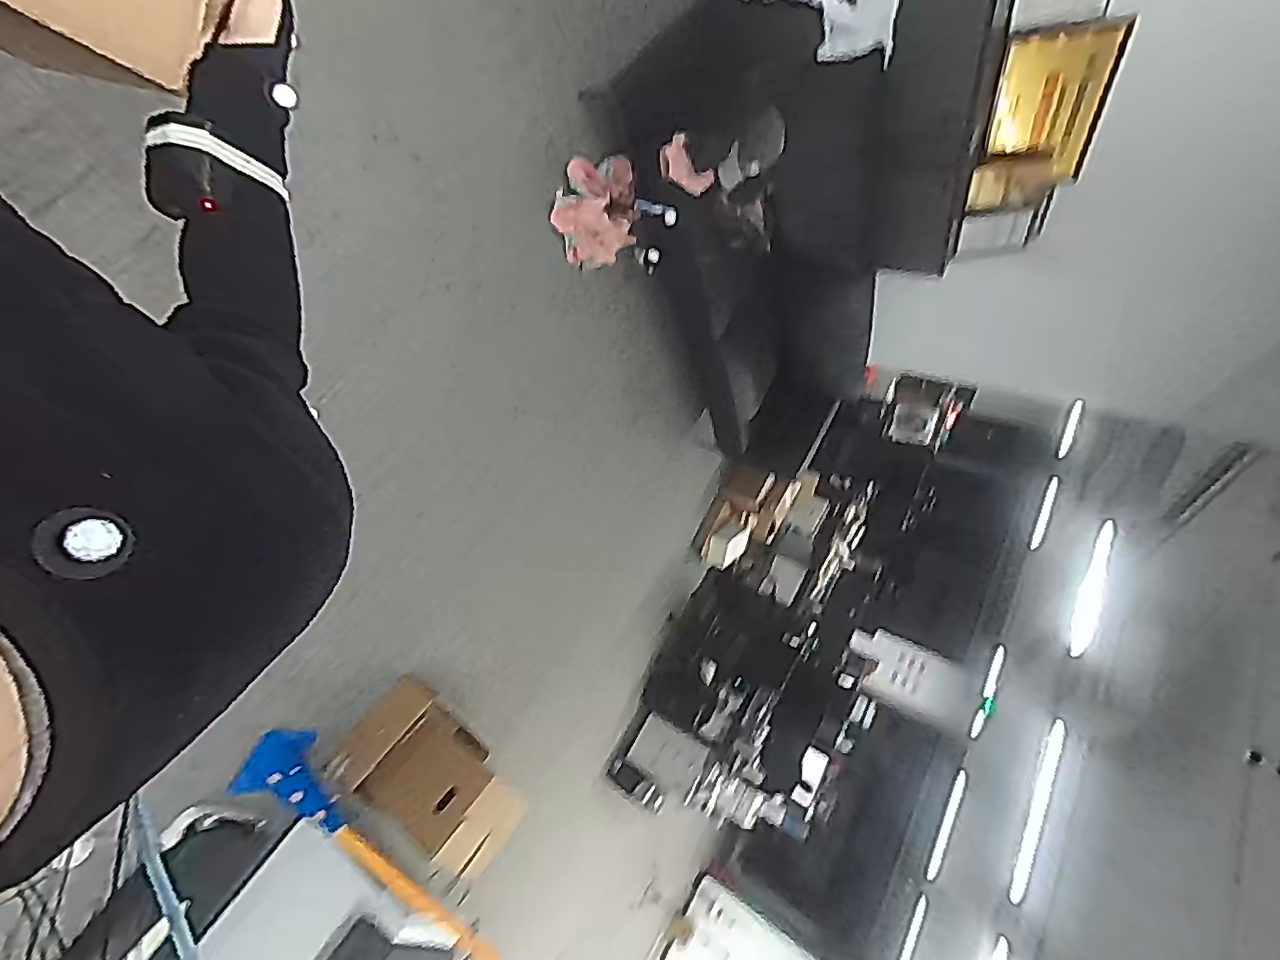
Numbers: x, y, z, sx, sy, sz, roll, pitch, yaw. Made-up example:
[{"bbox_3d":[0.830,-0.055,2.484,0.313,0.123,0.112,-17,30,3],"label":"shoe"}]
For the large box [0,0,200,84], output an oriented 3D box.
[{"bbox_3d":[-0.521,-0.501,0.286,0.408,0.320,0.320,-3,115,-62],"label":"large box"}]
